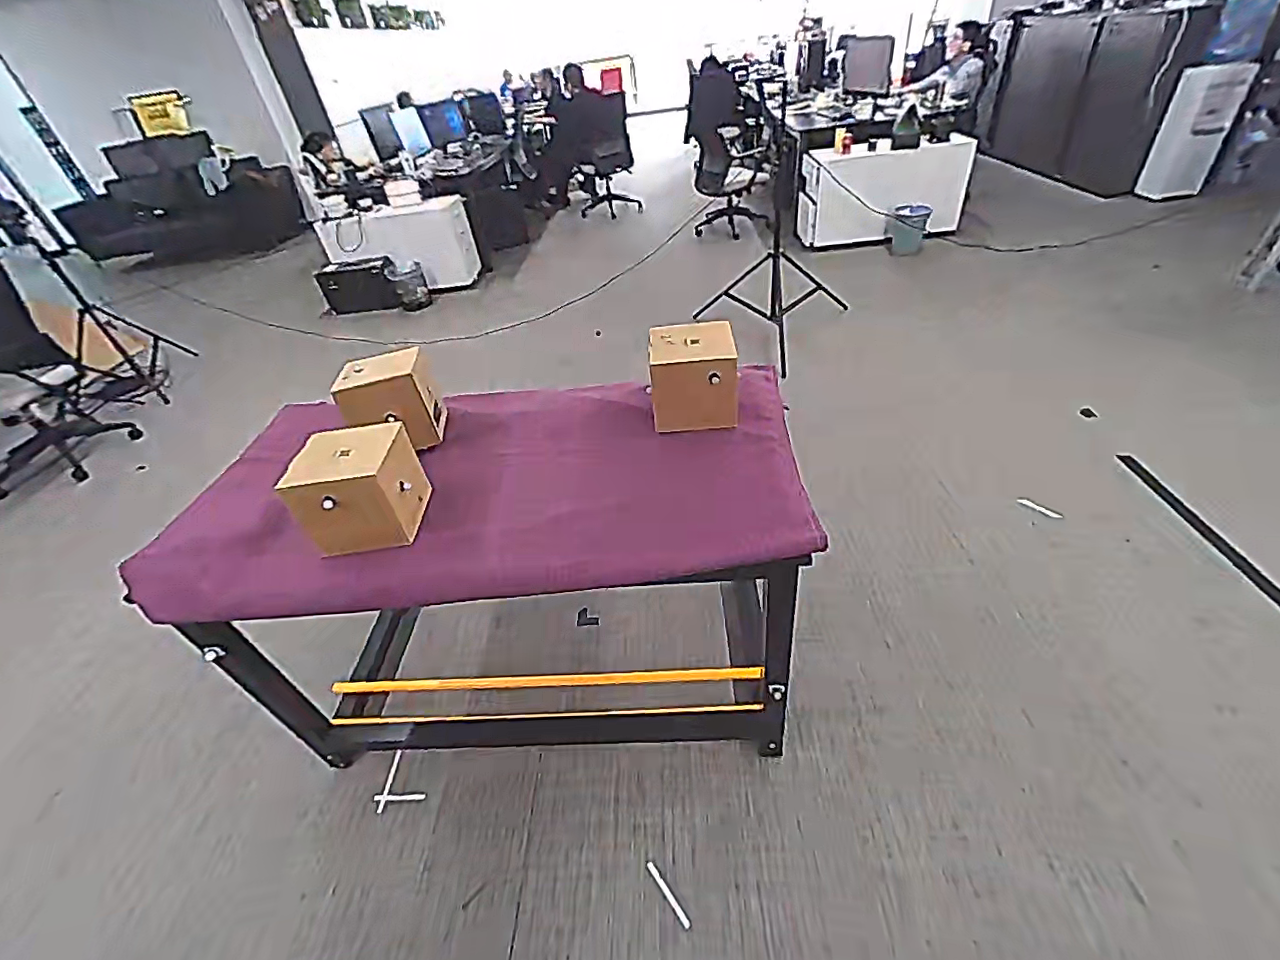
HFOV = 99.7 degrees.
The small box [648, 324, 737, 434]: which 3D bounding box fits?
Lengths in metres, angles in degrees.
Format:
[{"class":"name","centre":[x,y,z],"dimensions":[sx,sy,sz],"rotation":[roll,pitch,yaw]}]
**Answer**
[{"class":"small box","centre":[0.112,-0.216,1.167],"dimensions":[0.179,0.176,0.168],"rotation":[-4,40,5]}]

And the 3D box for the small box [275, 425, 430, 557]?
[{"class":"small box","centre":[-0.512,0.022,0.998],"dimensions":[0.179,0.176,0.168],"rotation":[-8,38,1]}]
